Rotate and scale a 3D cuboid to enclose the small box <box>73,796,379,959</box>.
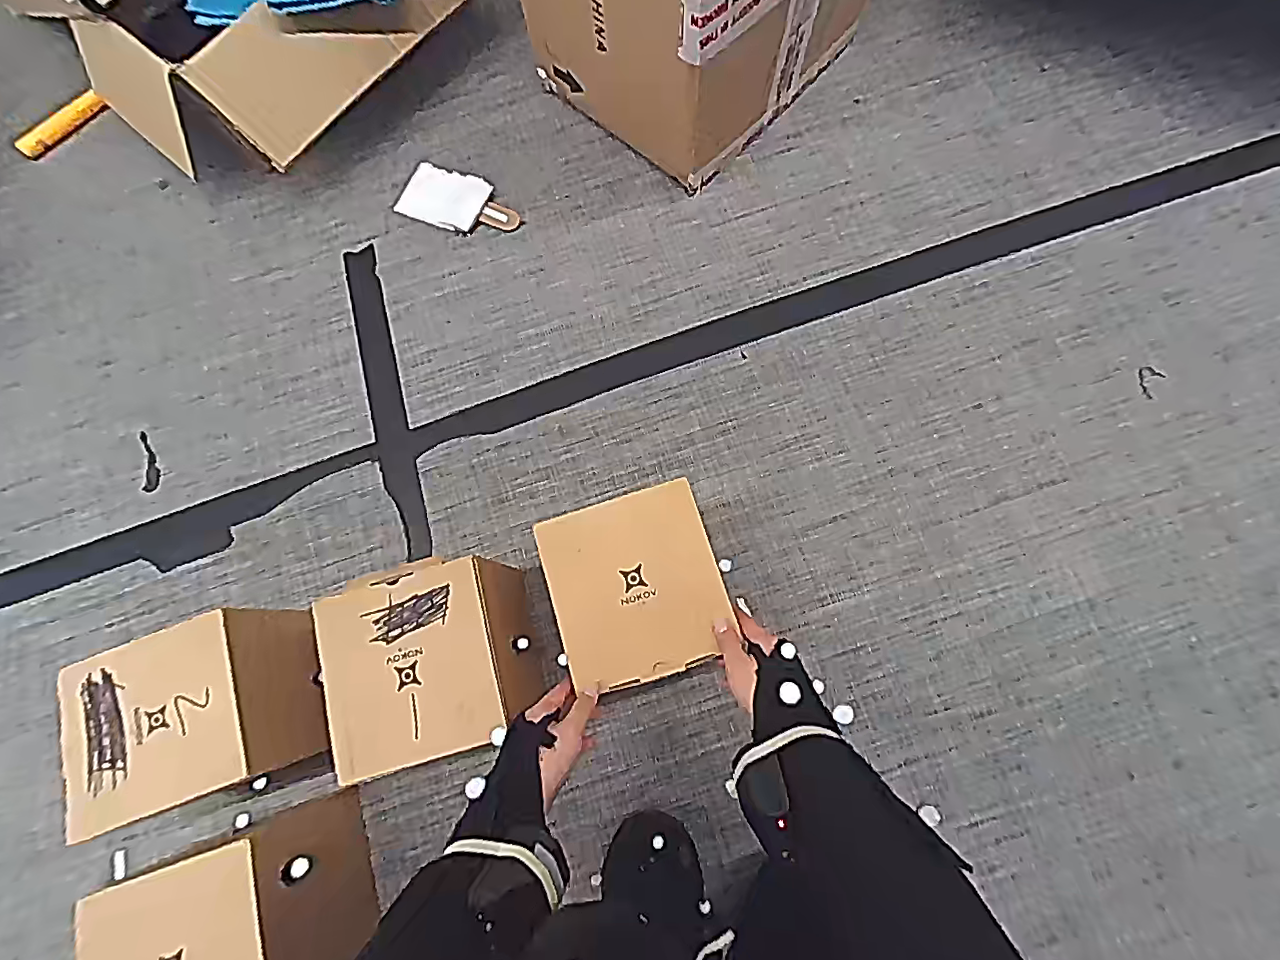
[{"bbox_3d":[-0.389,0.439,0.532,0.168,0.176,0.179,-19,75,-1],"label":"small box"}]

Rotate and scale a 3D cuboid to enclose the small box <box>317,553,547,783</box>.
[{"bbox_3d":[-0.211,0.192,0.586,0.168,0.176,0.179,-16,76,0],"label":"small box"}]

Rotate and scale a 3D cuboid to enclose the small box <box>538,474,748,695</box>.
[{"bbox_3d":[0.002,0.116,0.594,0.168,0.176,0.179,-18,76,-1],"label":"small box"}]
